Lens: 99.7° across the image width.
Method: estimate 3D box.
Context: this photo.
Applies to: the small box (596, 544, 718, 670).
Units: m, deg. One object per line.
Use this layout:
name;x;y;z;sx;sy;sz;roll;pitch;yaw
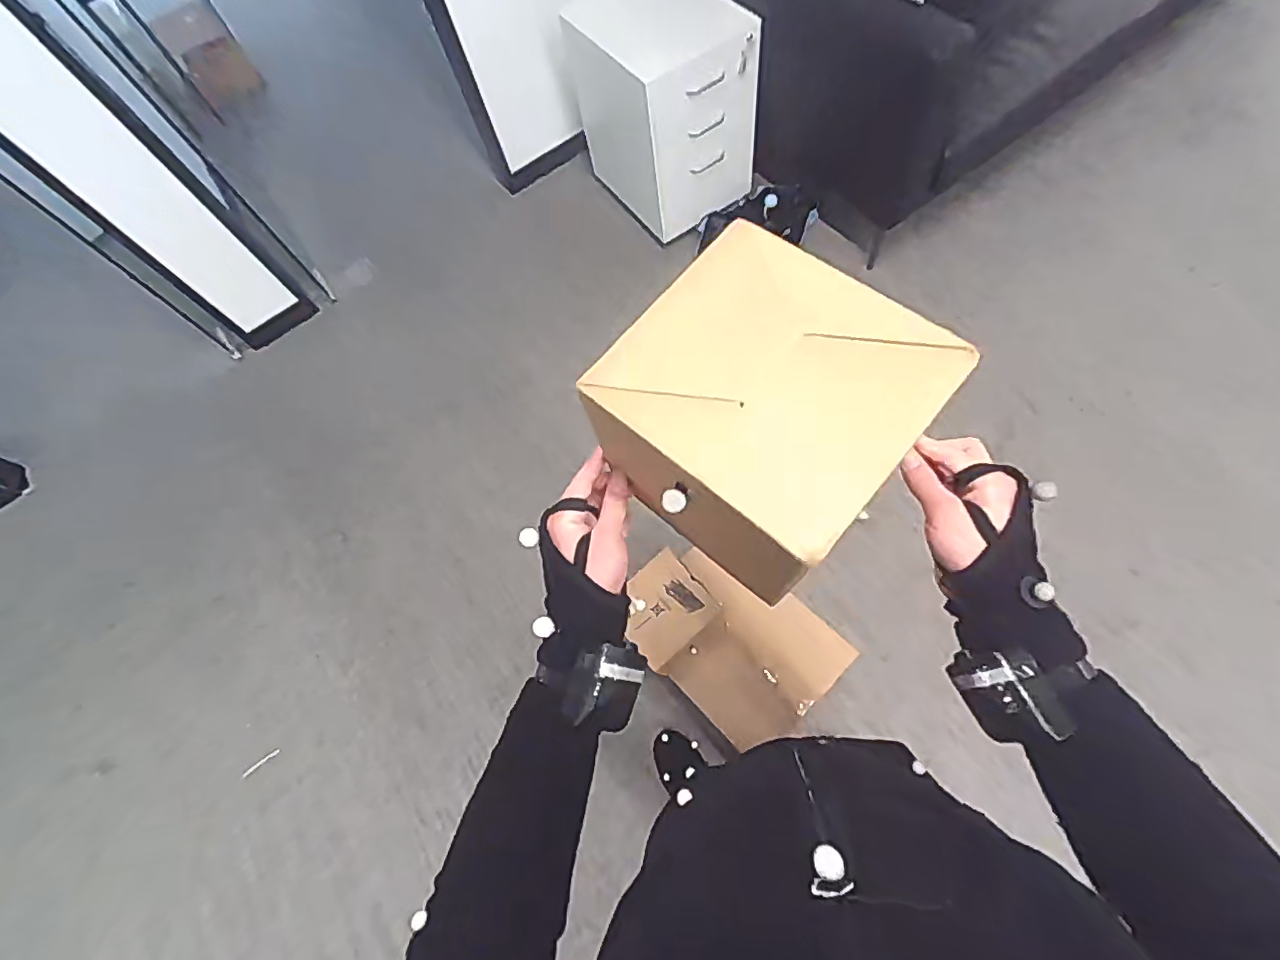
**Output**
small box;0.040;0.260;1.090;0.179;0.176;0.168;-40;67;-7
